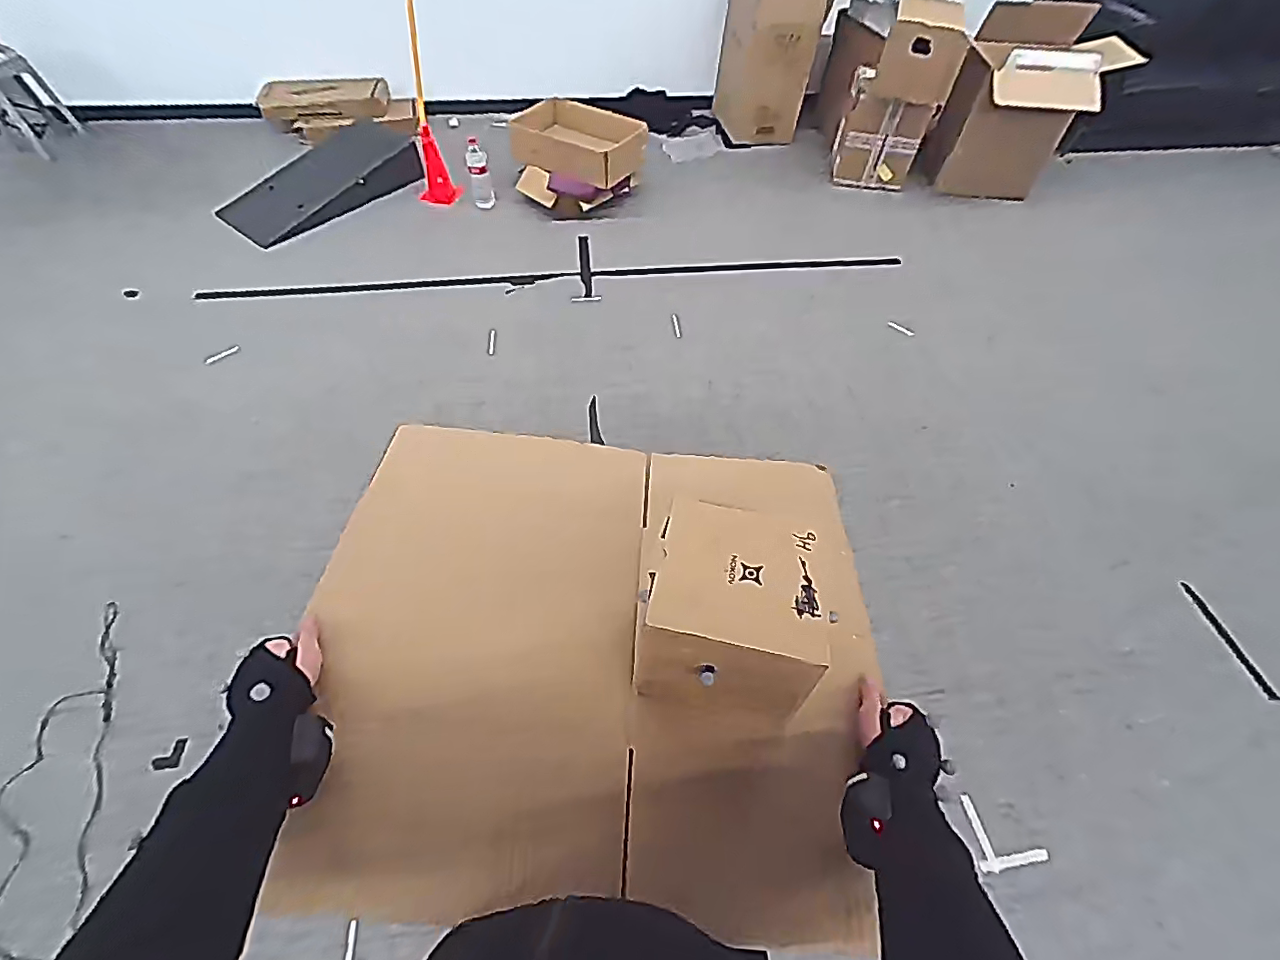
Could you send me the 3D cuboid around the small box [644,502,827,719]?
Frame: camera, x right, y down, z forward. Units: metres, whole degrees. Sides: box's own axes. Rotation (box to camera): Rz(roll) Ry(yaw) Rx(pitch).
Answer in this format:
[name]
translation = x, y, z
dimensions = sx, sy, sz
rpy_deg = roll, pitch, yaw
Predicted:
[small box]
translation = 0.104, 0.151, 0.618
dimensions = 0.179, 0.176, 0.168
rpy_deg = 10, 48, 8
